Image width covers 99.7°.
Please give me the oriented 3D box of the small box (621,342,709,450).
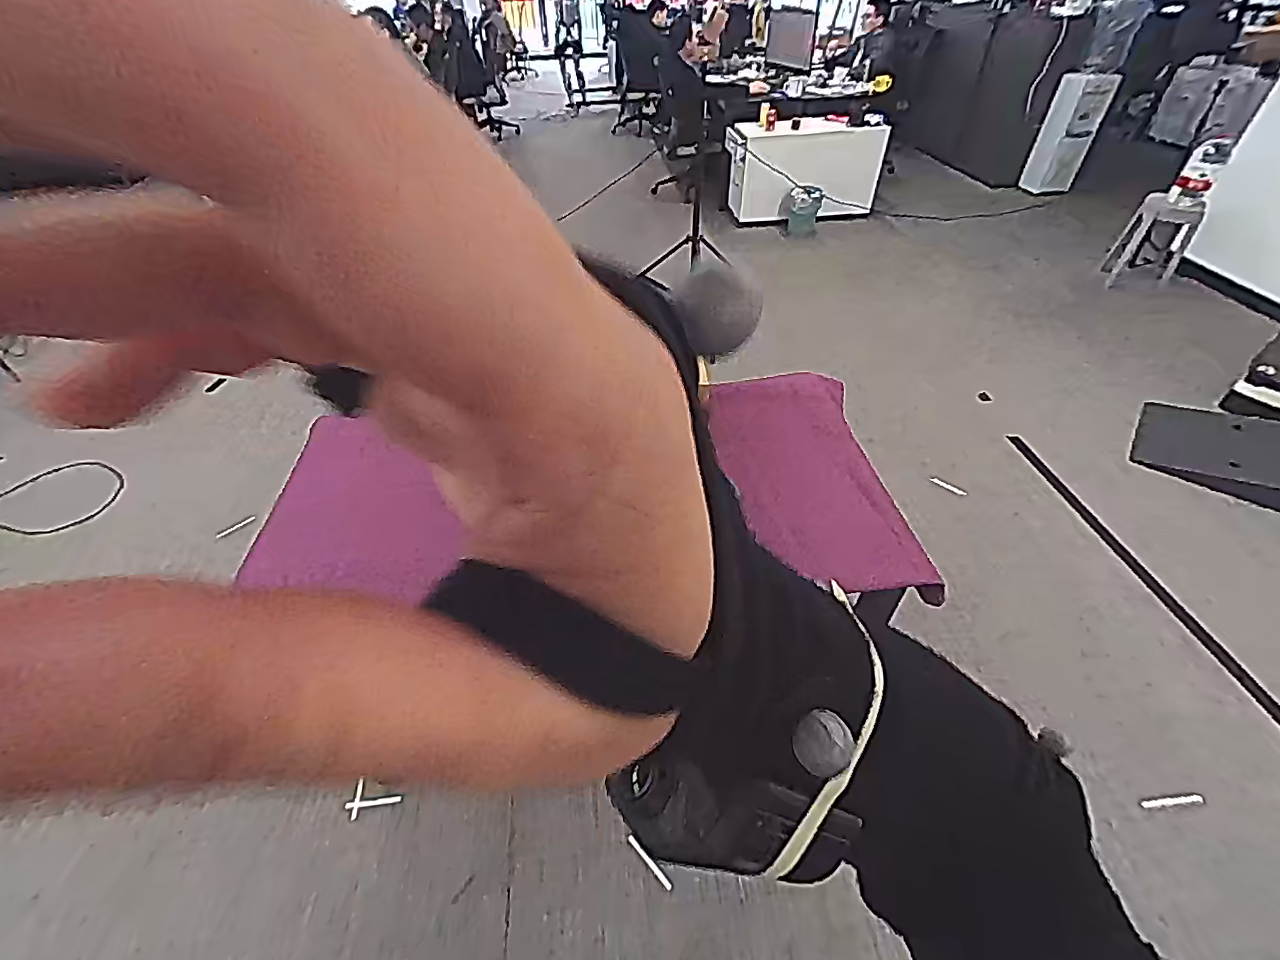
[{"bbox_3d":[0.049,-0.179,1.171,0.179,0.176,0.168,-3,45,0],"label":"small box"}]
